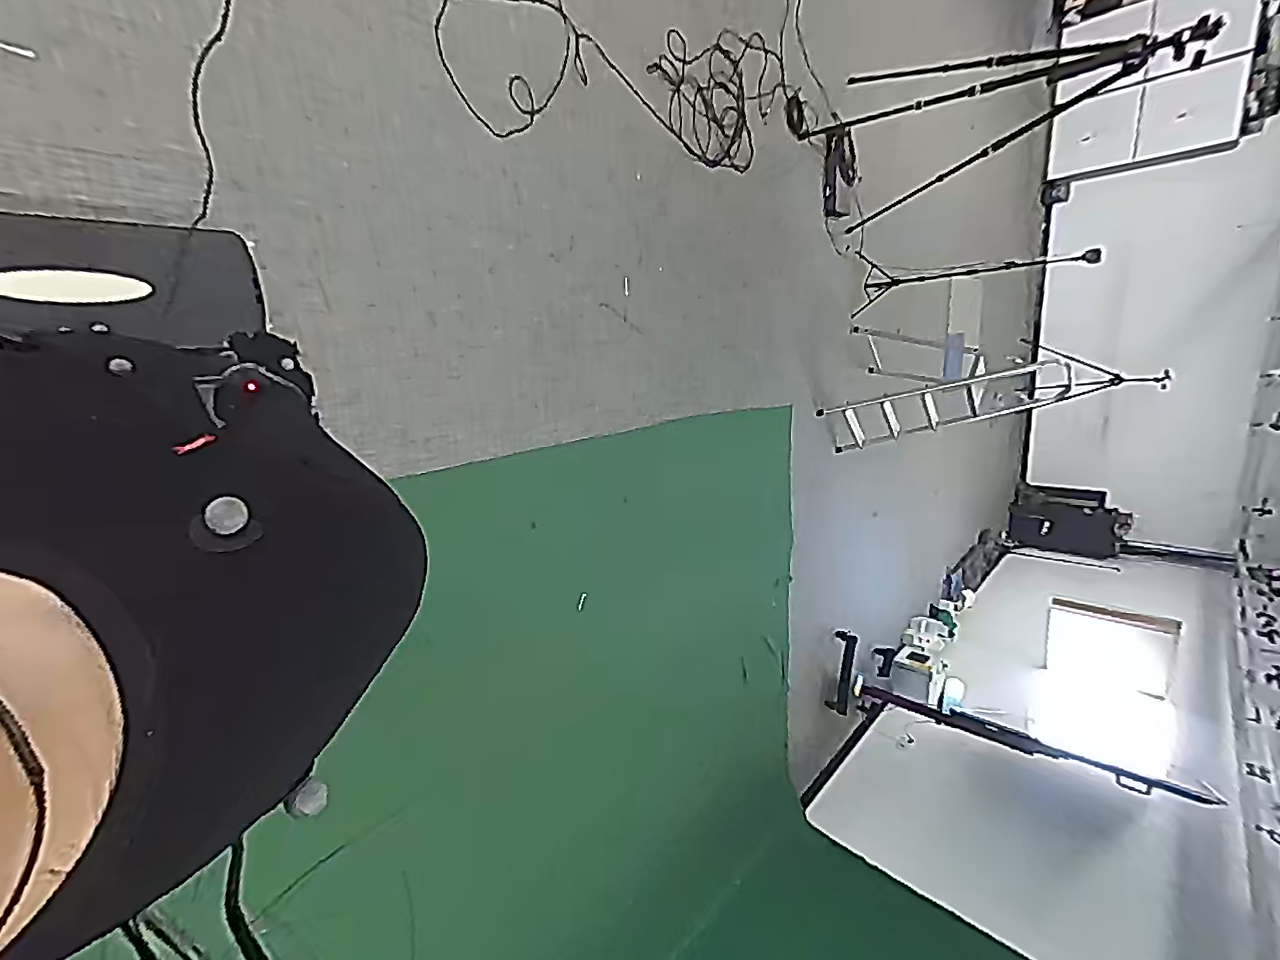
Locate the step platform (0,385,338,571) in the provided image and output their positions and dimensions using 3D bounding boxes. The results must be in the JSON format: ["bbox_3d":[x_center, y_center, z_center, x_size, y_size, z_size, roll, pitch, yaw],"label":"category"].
[{"bbox_3d":[-0.986,-0.011,1.031,0.684,0.204,0.286,-17,107,-44],"label":"step platform"}]
